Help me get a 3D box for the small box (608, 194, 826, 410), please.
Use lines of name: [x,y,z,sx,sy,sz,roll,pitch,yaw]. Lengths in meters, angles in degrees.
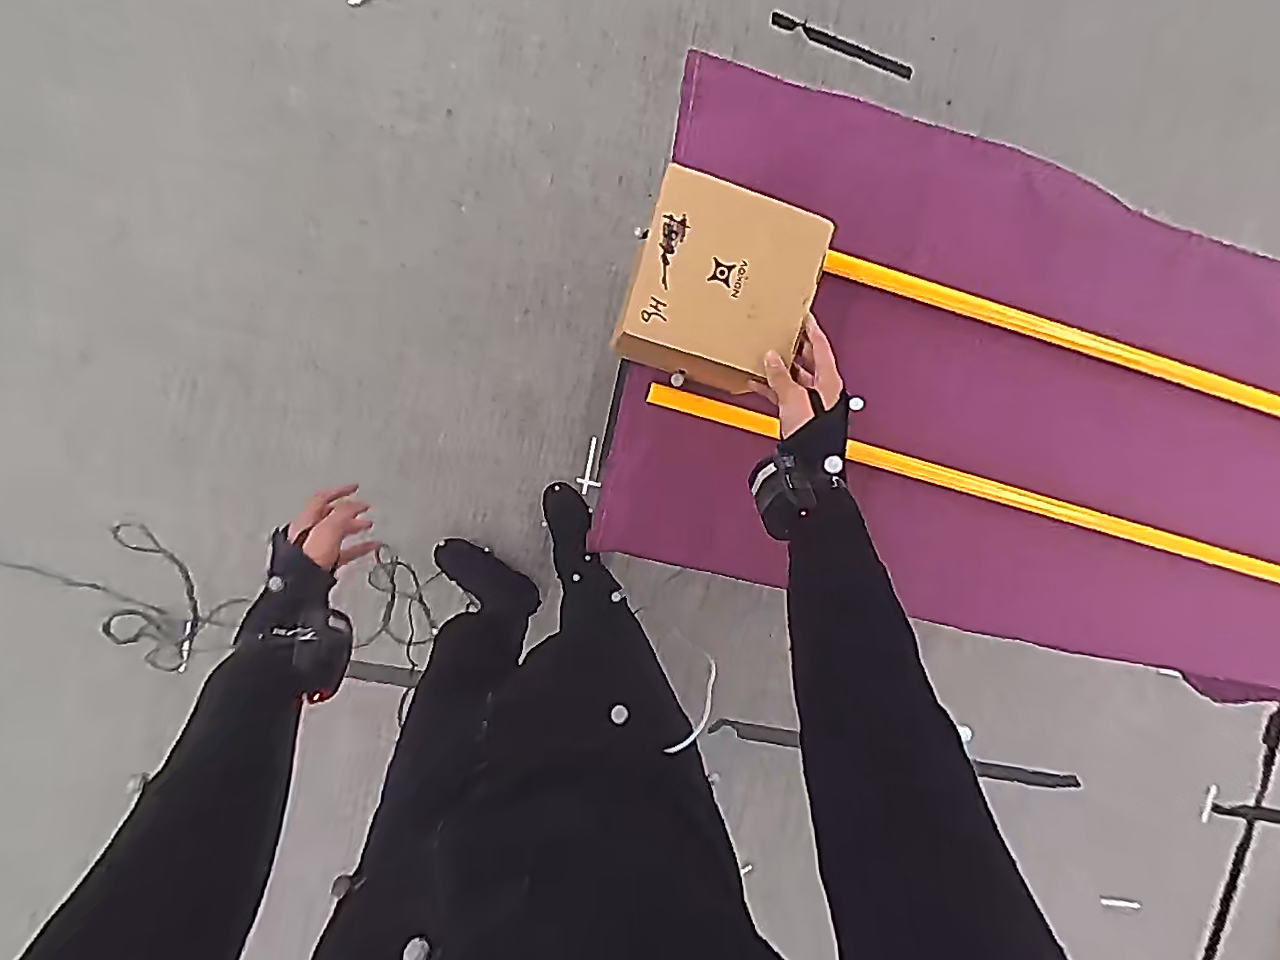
small box: [0.072,-0.182,0.610,0.179,0.176,0.168,16,94,-9]
